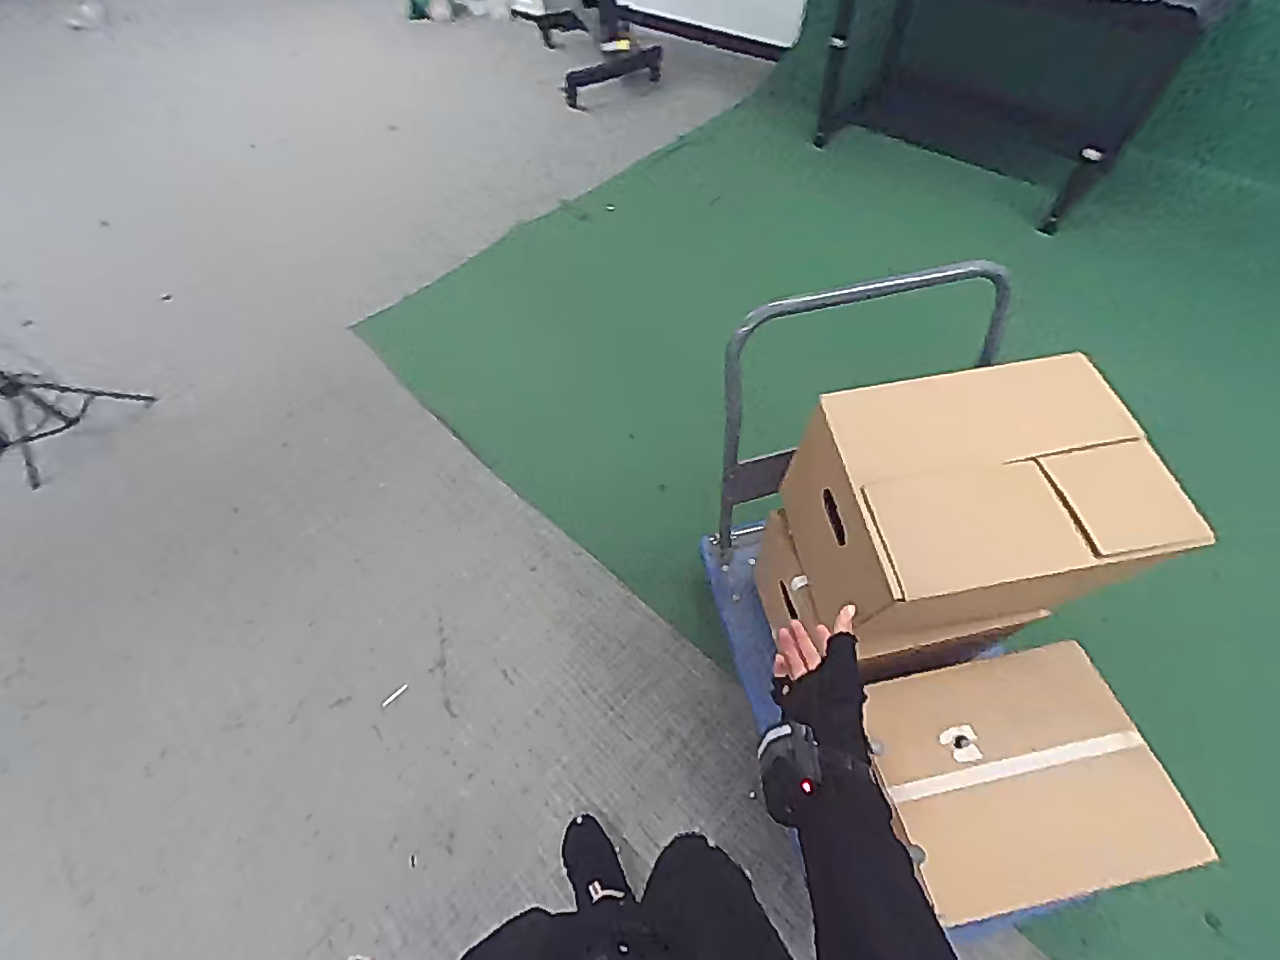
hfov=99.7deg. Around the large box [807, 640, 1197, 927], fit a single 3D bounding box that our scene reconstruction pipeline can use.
[{"bbox_3d":[0.557,0.509,0.935,0.408,0.320,0.320,-11,56,-2],"label":"large box"}]
